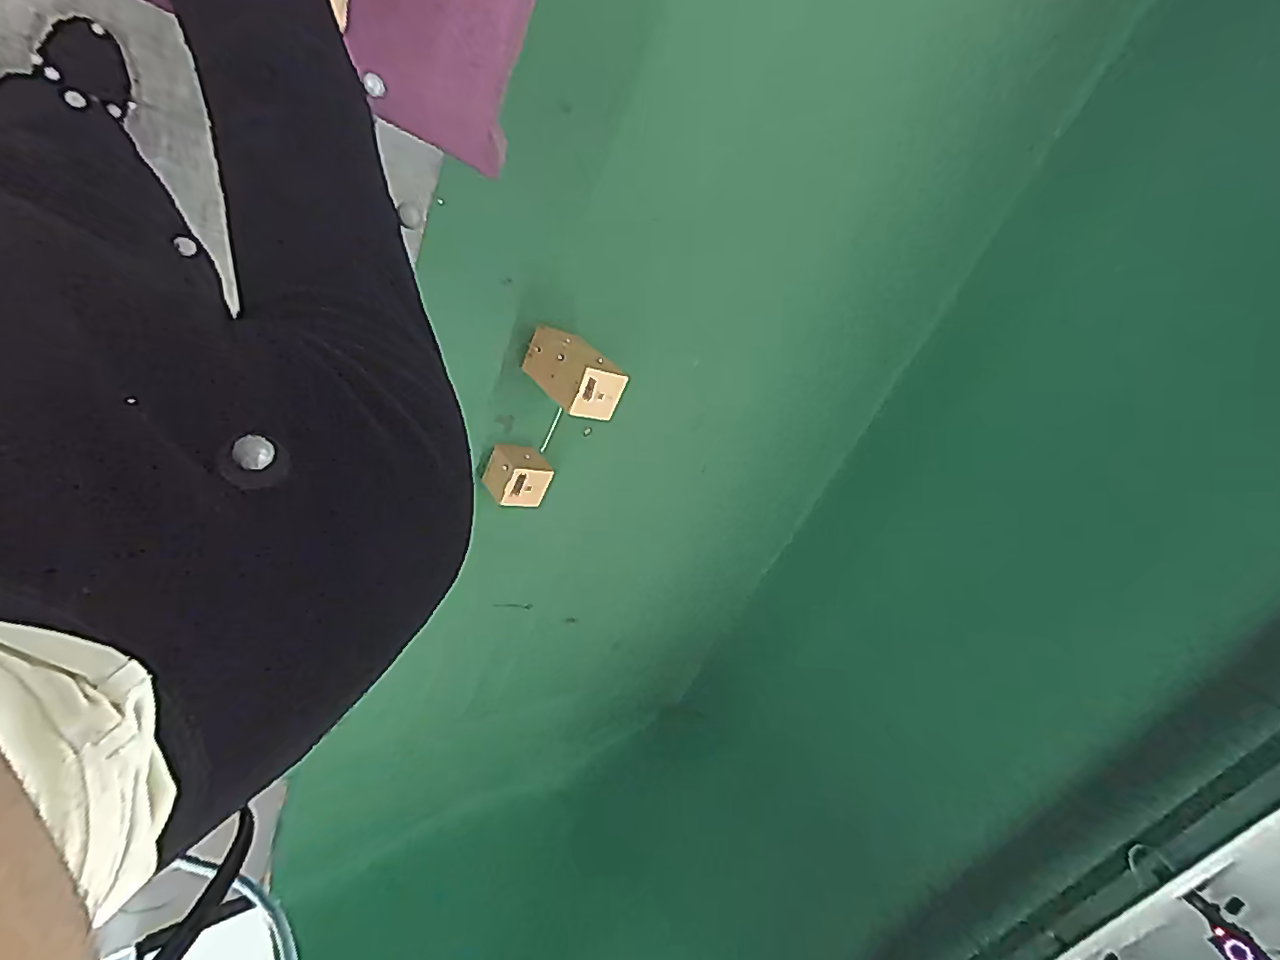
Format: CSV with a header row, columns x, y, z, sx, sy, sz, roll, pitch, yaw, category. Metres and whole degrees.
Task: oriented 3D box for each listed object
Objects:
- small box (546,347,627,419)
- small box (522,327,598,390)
x,y,z,sx,sy,sz,roll,pitch,yaw,category
-0.181,-0.319,1.771,0.179,0.176,0.168,2,123,-46,small box
-0.275,-0.410,1.869,0.179,0.176,0.168,3,122,-45,small box
